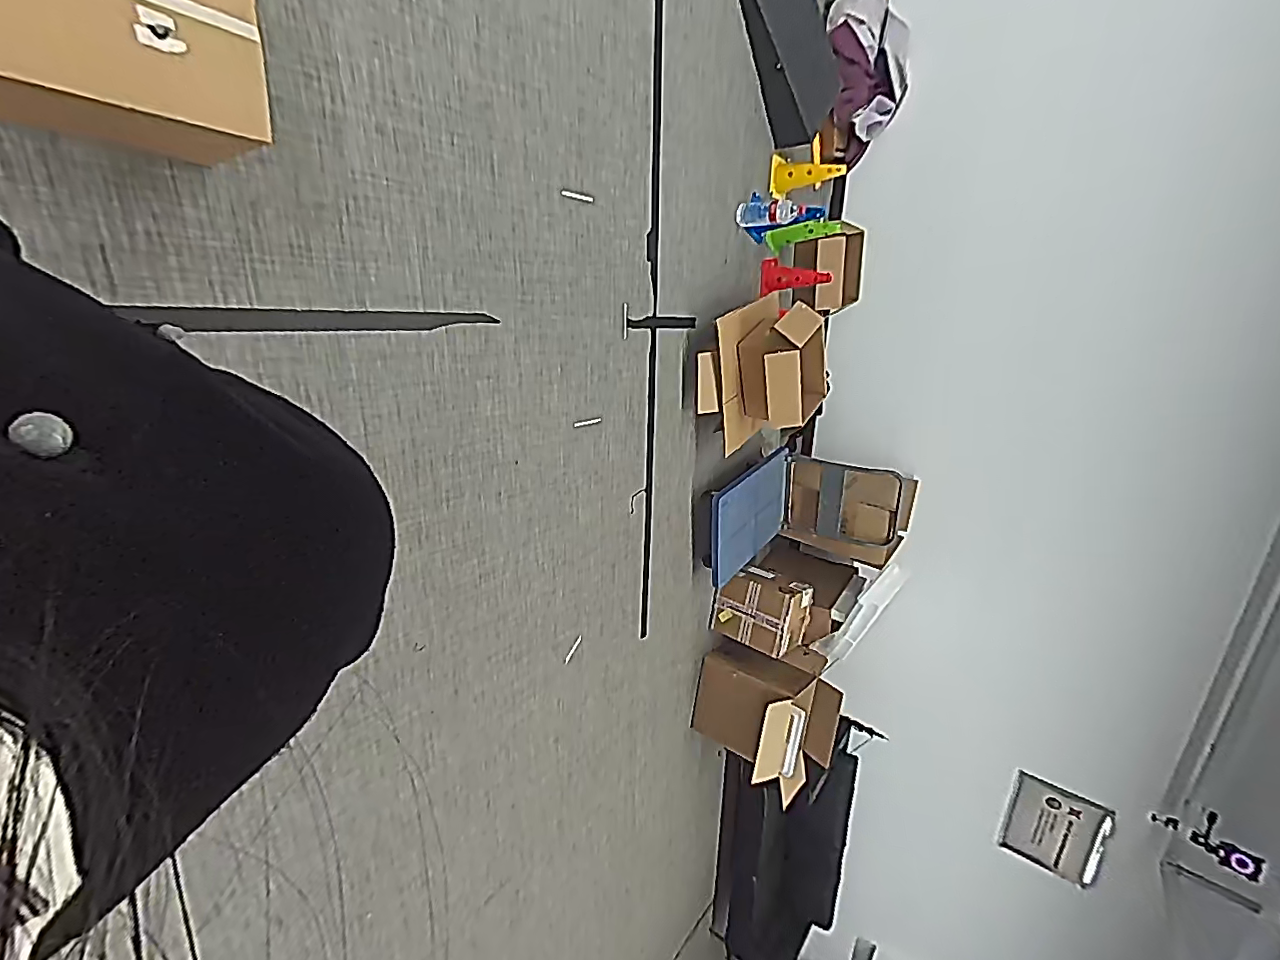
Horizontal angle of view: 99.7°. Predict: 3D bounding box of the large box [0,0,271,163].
[{"bbox_3d":[-0.871,-0.722,0.827,0.408,0.320,0.320,-18,116,-51],"label":"large box"}]
